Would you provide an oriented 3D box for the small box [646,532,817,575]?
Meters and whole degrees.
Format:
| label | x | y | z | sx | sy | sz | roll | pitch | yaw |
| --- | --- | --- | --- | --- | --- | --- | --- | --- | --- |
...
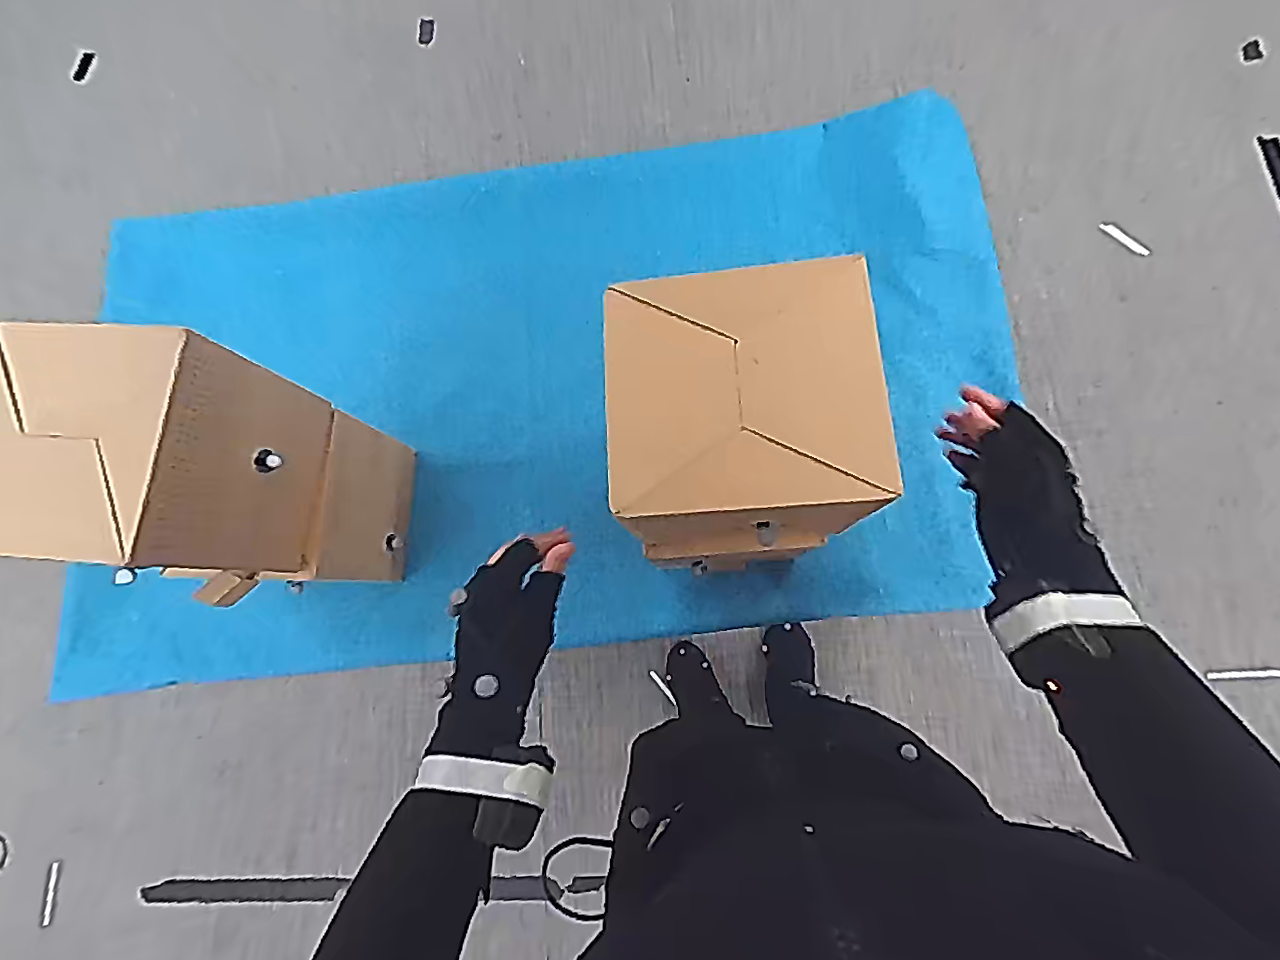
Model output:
| label | x | y | z | sx | sy | sz | roll | pitch | yaw |
| --- | --- | --- | --- | --- | --- | --- | --- | --- | --- |
| small box | 0.090 | 0.003 | 0.588 | 0.168 | 0.176 | 0.179 | -6 | 76 | 5 |

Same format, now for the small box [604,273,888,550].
| label | x | y | z | sx | sy | sz | roll | pitch | yaw |
| --- | --- | --- | --- | --- | --- | --- | --- | --- | --- |
| small box | 0.078 | -0.040 | 0.430 | 0.179 | 0.176 | 0.168 | -5 | 75 | 8 |

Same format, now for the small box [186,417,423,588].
| label | x | y | z | sx | sy | sz | roll | pitch | yaw |
| --- | --- | --- | --- | --- | --- | --- | --- | --- | --- |
| small box | -0.378 | 0.034 | 0.630 | 0.168 | 0.176 | 0.179 | -1 | 78 | 5 |

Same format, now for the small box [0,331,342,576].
| label | x | y | z | sx | sy | sz | roll | pitch | yaw |
| --- | --- | --- | --- | --- | --- | --- | --- | --- | --- |
| small box | -0.402 | -0.011 | 0.473 | 0.168 | 0.176 | 0.179 | 3 | 80 | 6 |
